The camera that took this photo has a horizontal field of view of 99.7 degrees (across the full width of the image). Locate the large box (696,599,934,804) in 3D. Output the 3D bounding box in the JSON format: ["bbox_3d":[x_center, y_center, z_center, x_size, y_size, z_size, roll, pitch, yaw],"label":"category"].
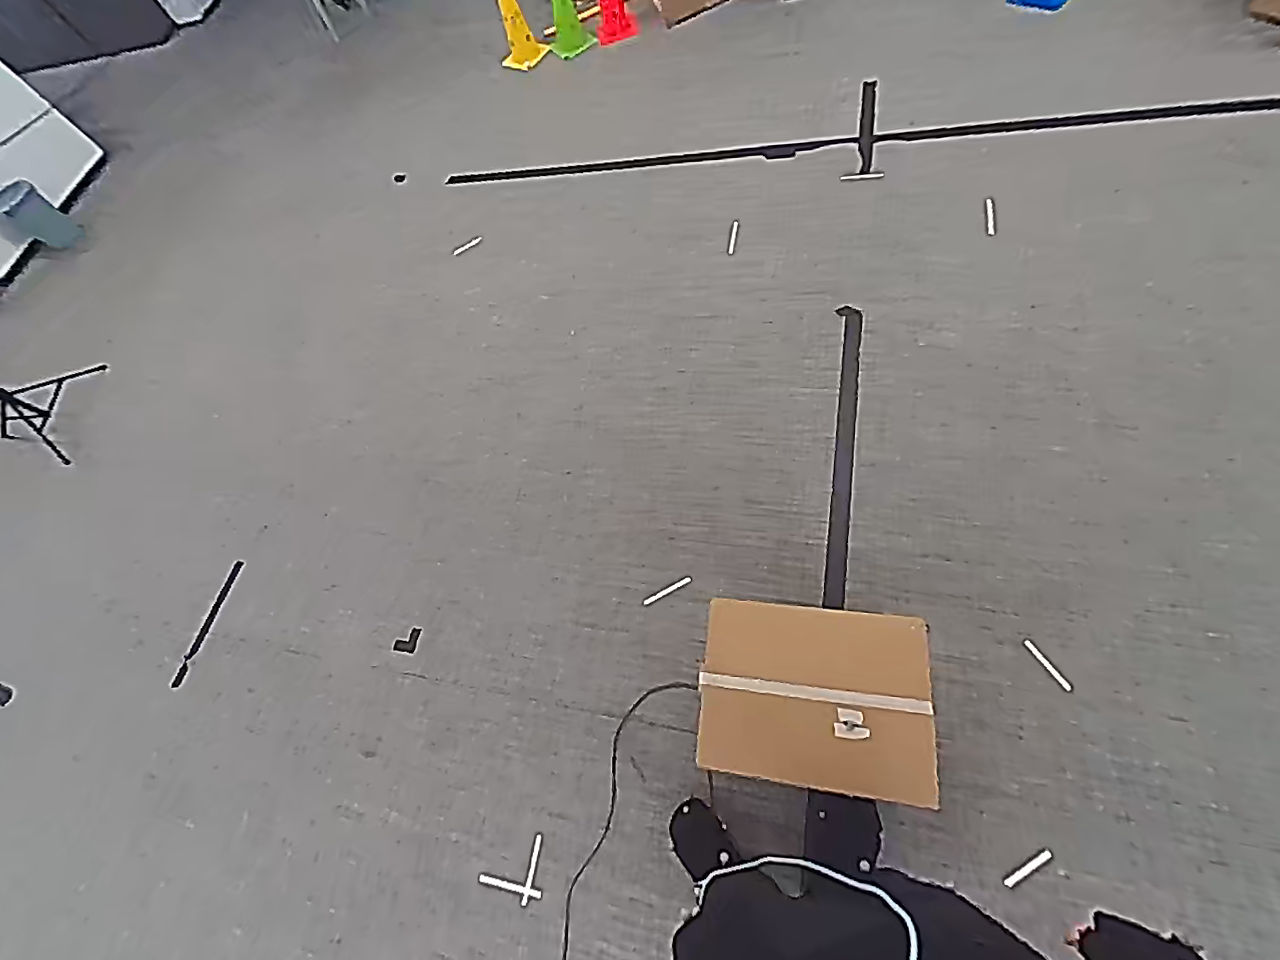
[{"bbox_3d":[0.340,0.450,1.125,0.408,0.320,0.320,3,67,14],"label":"large box"}]
